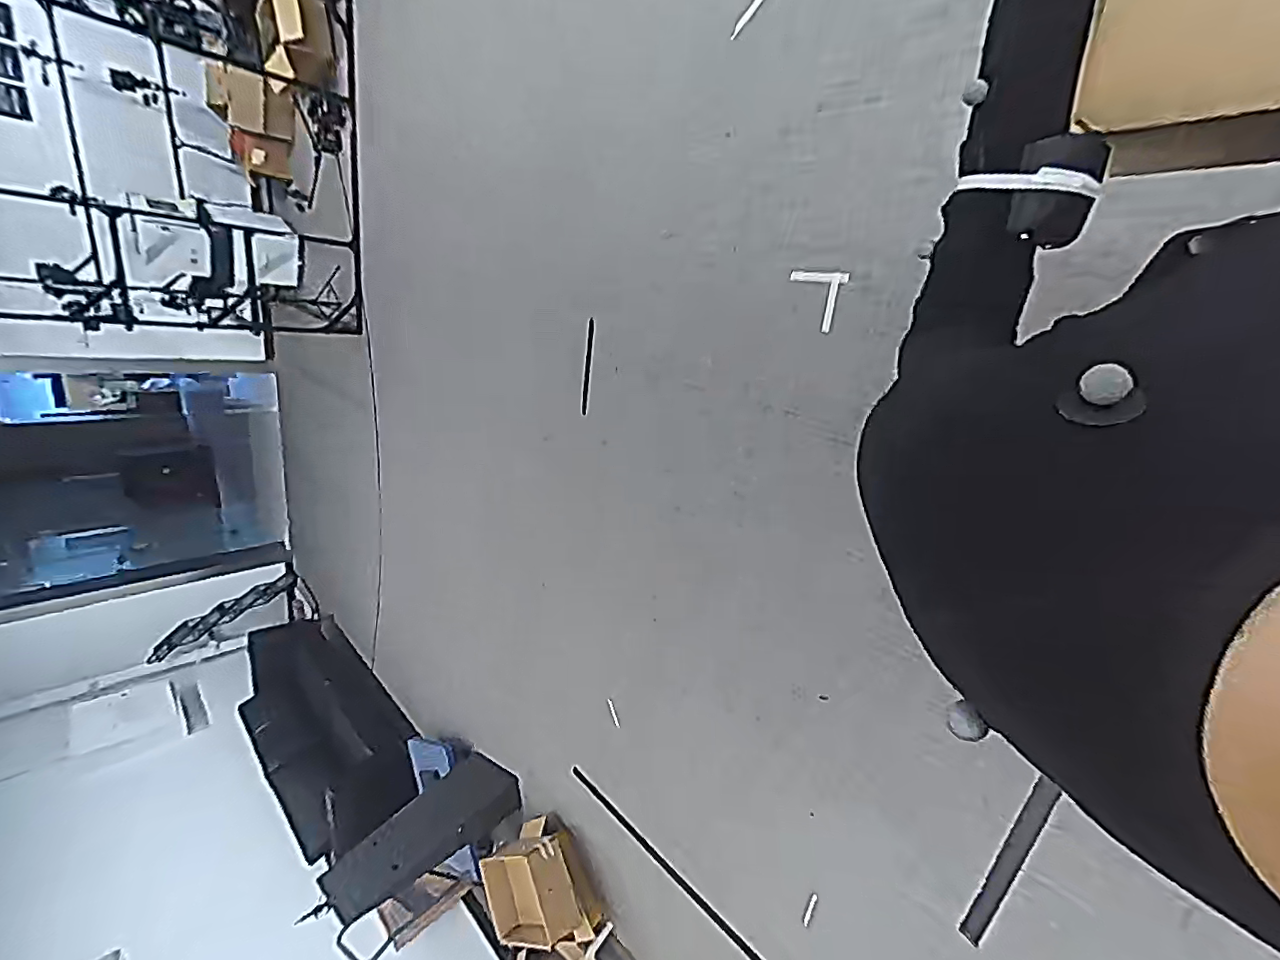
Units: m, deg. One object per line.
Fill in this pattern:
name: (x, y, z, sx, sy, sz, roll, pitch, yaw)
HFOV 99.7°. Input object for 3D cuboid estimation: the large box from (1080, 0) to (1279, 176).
large box: (0.548, -0.390, 0.309, 0.408, 0.320, 0.320, 16, 118, 39)
